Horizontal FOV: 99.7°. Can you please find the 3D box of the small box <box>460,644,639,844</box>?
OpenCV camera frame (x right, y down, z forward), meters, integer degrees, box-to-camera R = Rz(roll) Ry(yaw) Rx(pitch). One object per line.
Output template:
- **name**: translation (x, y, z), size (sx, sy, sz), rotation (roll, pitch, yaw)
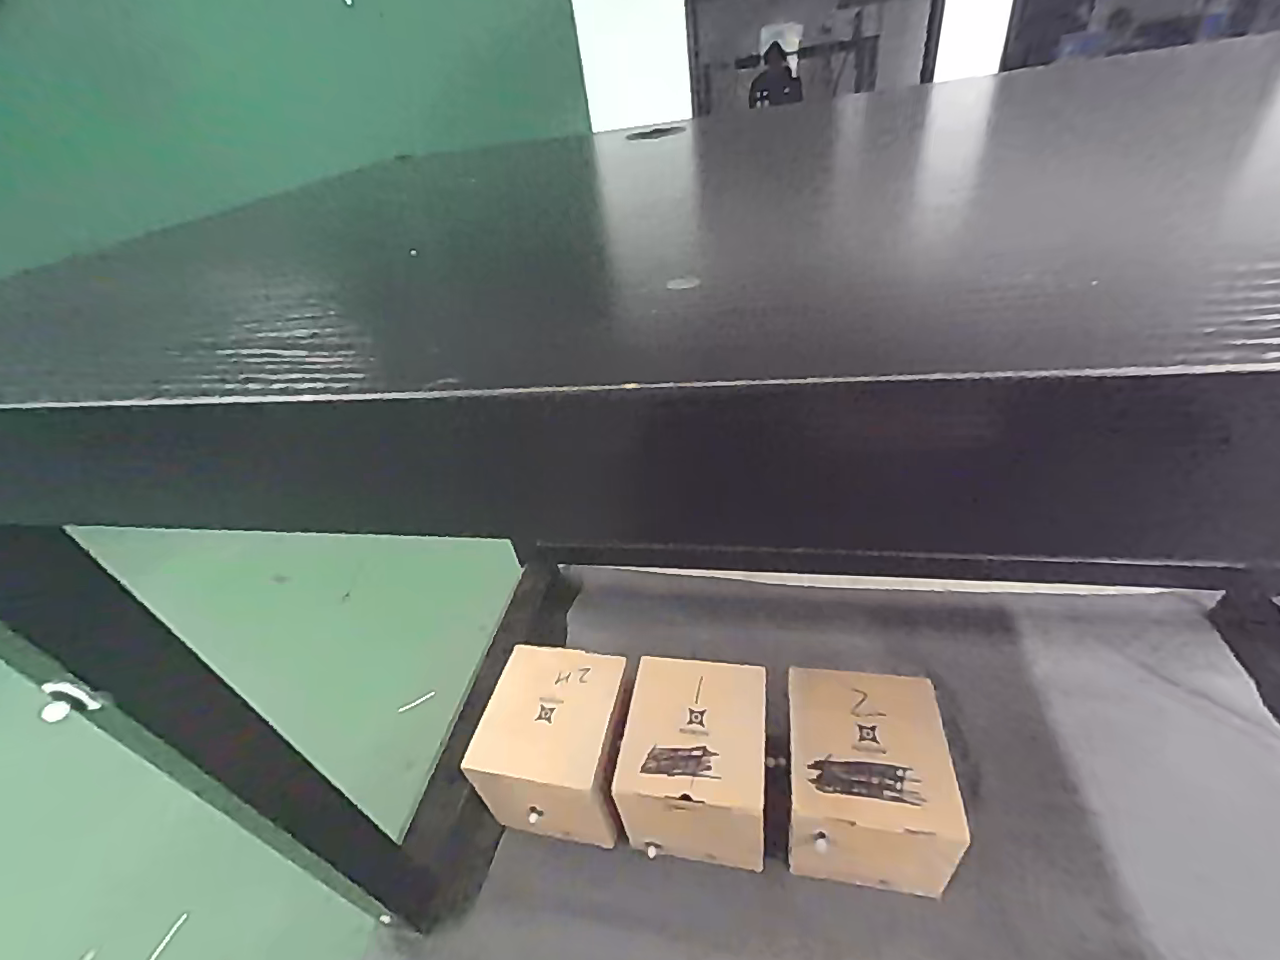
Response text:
- **small box**: translation (-0.104, 0.349, 0.720), size (0.168, 0.176, 0.179), rotation (3, 38, 14)
